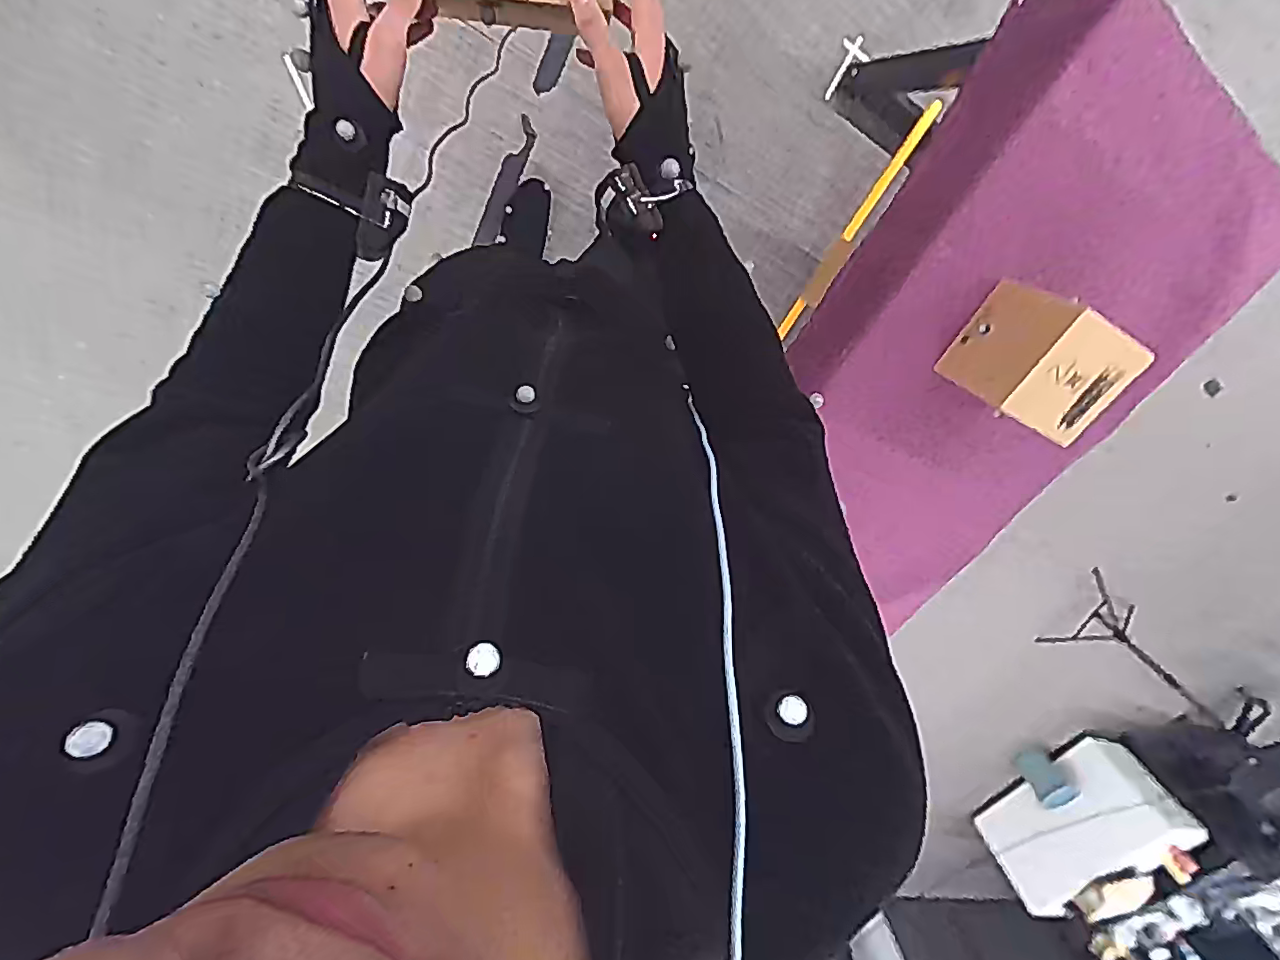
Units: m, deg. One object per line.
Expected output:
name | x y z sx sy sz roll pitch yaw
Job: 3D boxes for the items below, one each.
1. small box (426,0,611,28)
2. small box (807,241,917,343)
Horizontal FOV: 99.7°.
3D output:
small box | -0.106 -0.474 0.422 0.179 0.176 0.168 1 124 -6
small box | 0.560 -0.490 1.399 0.168 0.176 0.179 19 118 -22
